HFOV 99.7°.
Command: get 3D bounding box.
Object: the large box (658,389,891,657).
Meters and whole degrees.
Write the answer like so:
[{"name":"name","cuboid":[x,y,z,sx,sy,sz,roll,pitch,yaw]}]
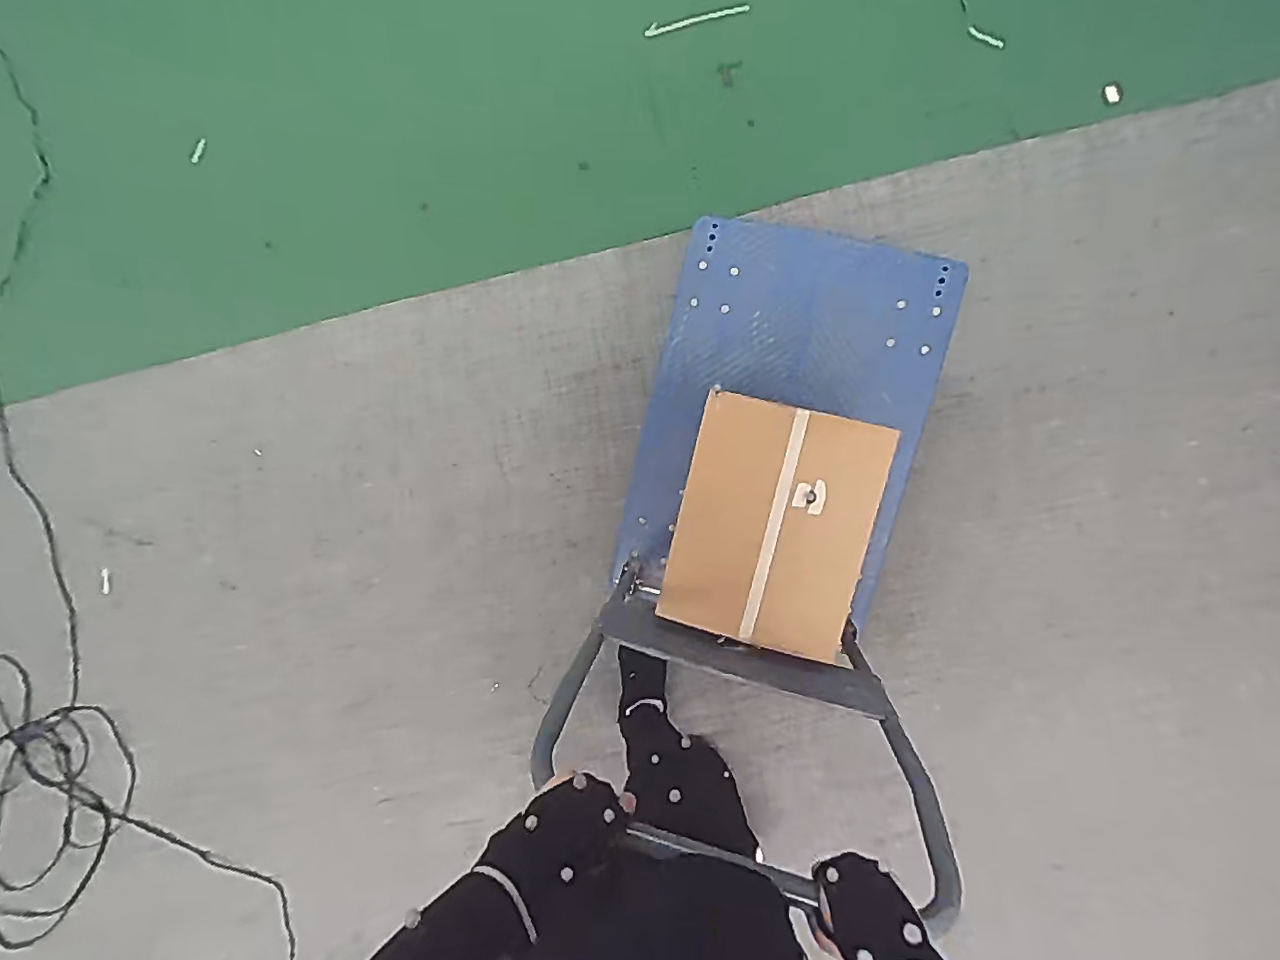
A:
[{"name":"large box","cuboid":[0.241,0.064,1.054,0.320,0.320,0.408,14,96,7]}]
